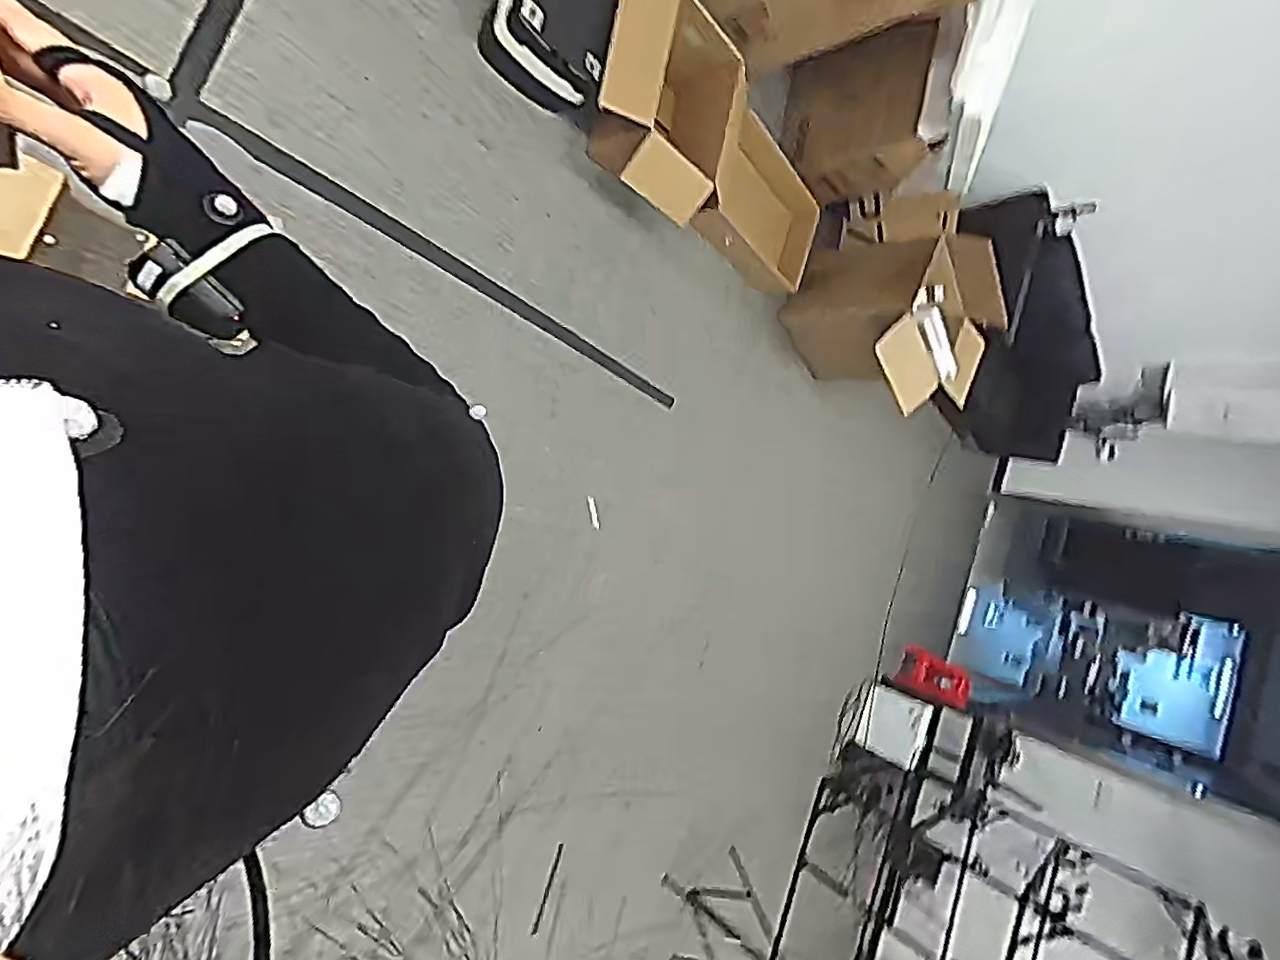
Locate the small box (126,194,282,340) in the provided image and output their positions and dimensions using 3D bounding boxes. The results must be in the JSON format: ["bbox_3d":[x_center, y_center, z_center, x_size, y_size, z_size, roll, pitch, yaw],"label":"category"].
[{"bbox_3d":[-0.778,-0.366,0.964,0.168,0.176,0.179,25,83,-44],"label":"small box"}]

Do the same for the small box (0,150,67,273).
[{"bbox_3d":[-1.080,-0.460,0.878,0.168,0.176,0.179,27,81,-44],"label":"small box"}]

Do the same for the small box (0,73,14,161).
[{"bbox_3d":[-0.487,-0.272,0.280,0.179,0.176,0.168,-28,119,-42],"label":"small box"}]

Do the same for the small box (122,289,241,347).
[{"bbox_3d":[-0.892,-0.381,1.081,0.179,0.176,0.168,22,84,-45],"label":"small box"}]
